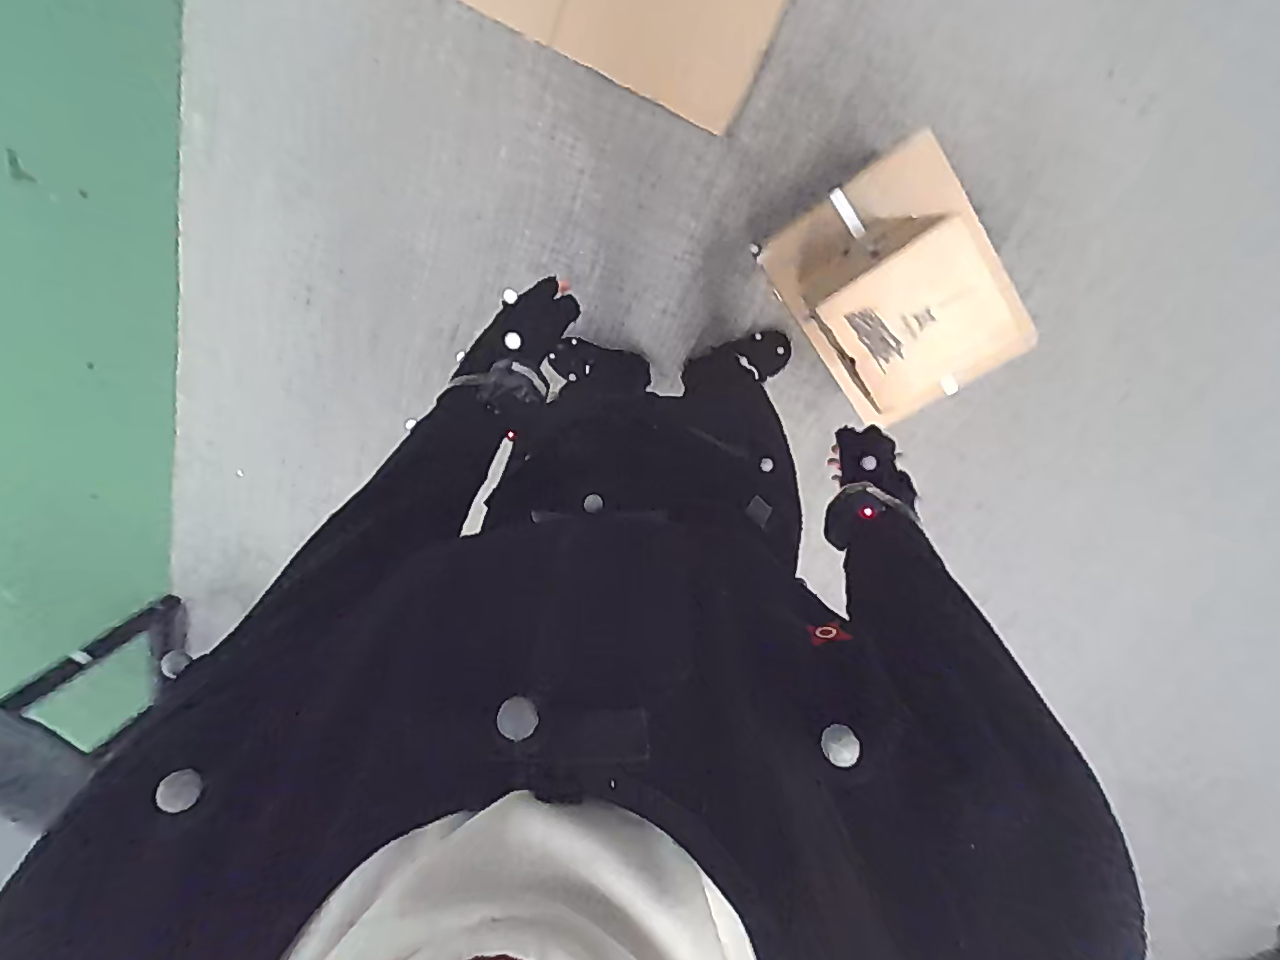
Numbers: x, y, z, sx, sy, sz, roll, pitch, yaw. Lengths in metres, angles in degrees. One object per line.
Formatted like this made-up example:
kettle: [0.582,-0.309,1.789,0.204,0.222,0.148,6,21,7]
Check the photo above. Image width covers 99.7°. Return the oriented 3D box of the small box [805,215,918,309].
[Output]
small box: [0.384,-0.286,0.859,0.168,0.176,0.179,-38,102,21]

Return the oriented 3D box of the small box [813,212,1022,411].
small box: [0.343,-0.220,0.711,0.179,0.176,0.168,-32,104,21]
